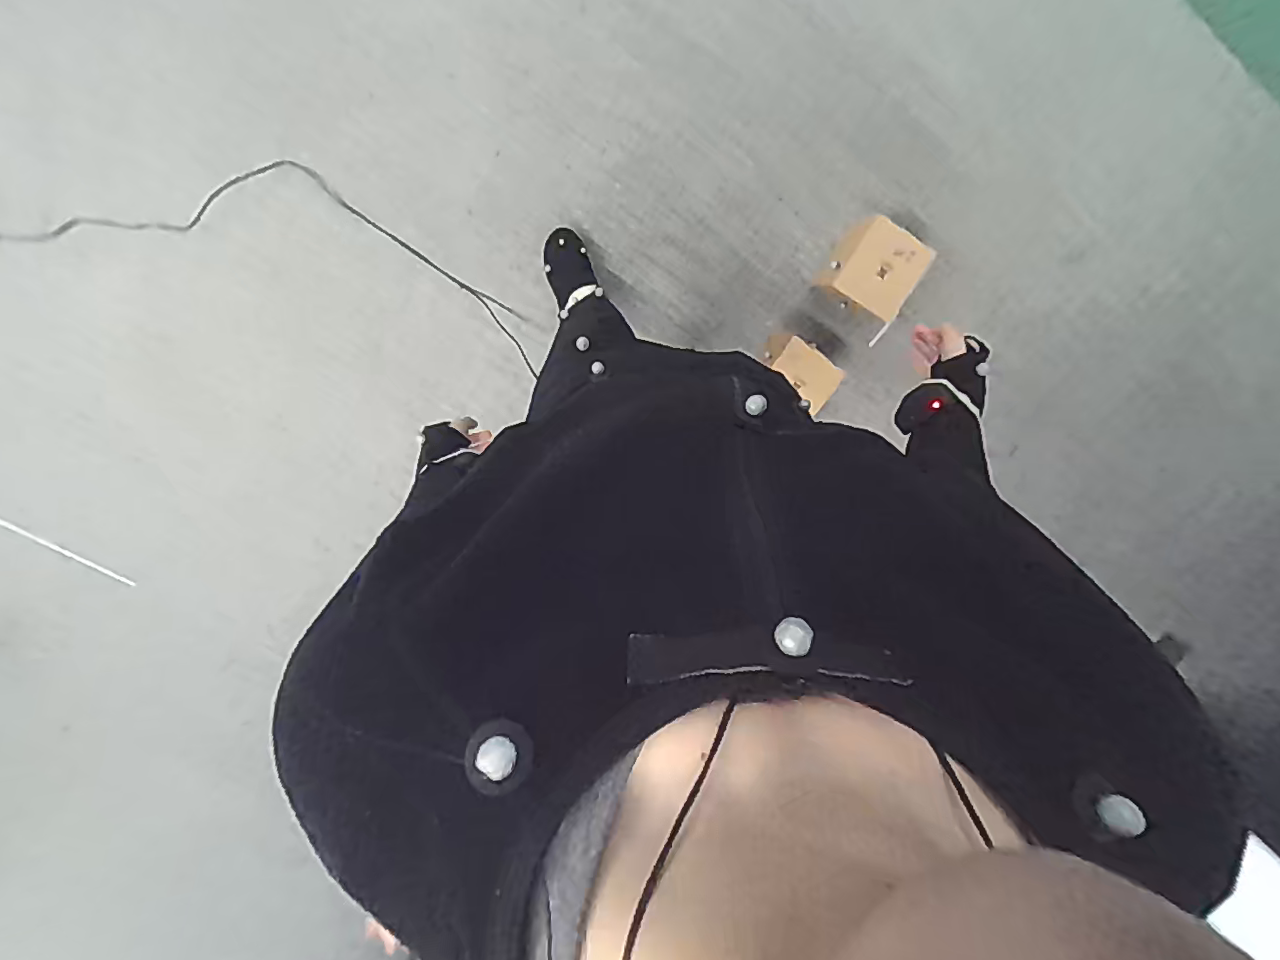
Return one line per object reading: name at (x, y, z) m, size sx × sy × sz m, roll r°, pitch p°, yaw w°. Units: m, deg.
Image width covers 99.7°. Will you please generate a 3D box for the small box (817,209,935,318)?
small box at (0.545, -0.506, 1.284) m, size 0.168 × 0.176 × 0.179 m, roll 29°, pitch 106°, yaw -10°
